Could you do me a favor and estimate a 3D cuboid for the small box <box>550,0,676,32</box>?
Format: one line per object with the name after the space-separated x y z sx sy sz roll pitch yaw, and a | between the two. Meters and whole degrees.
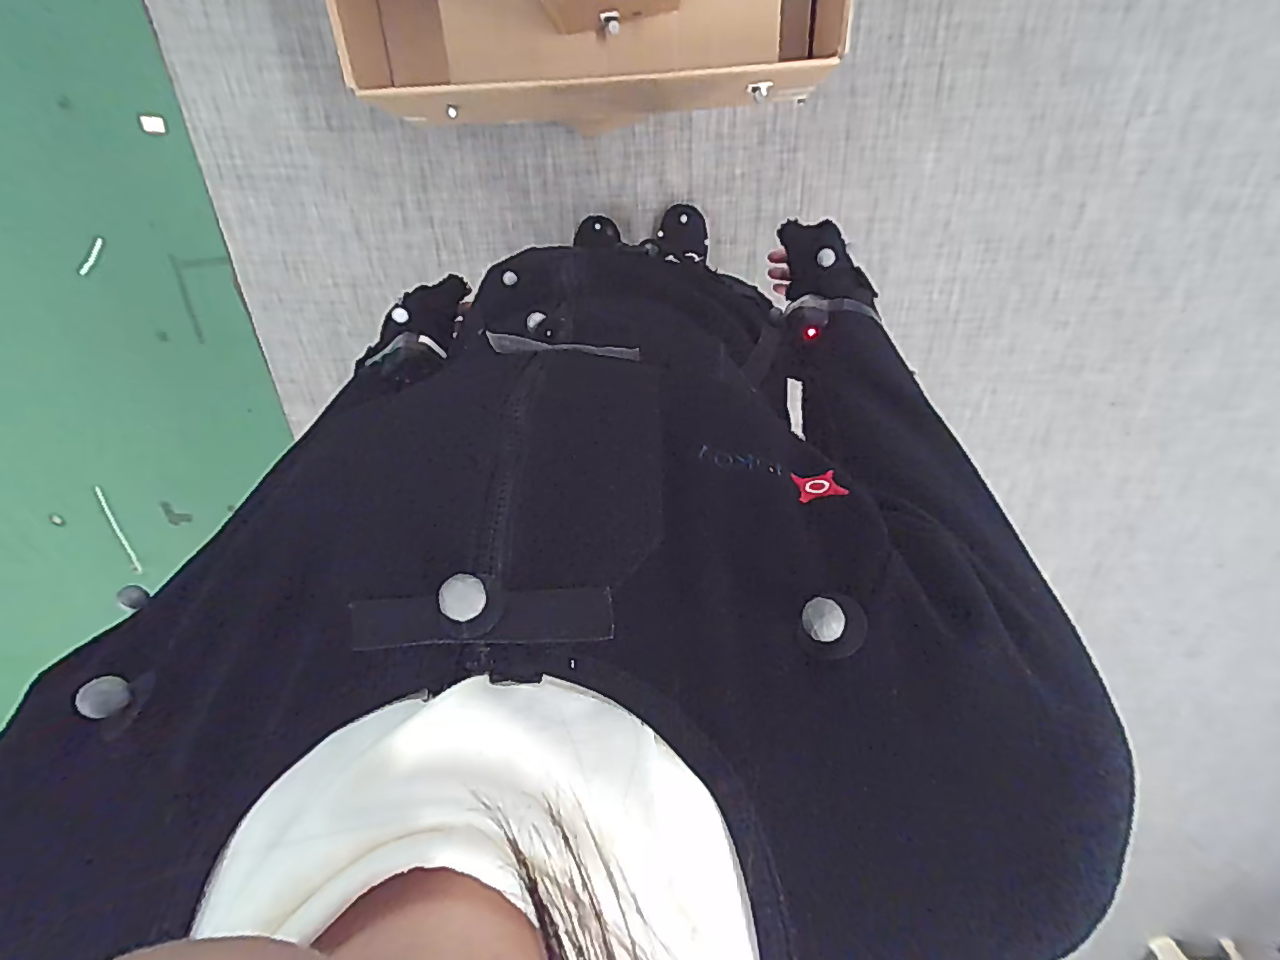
-0.046 -0.673 0.636 0.168 0.176 0.179 -7 117 8 | small box
